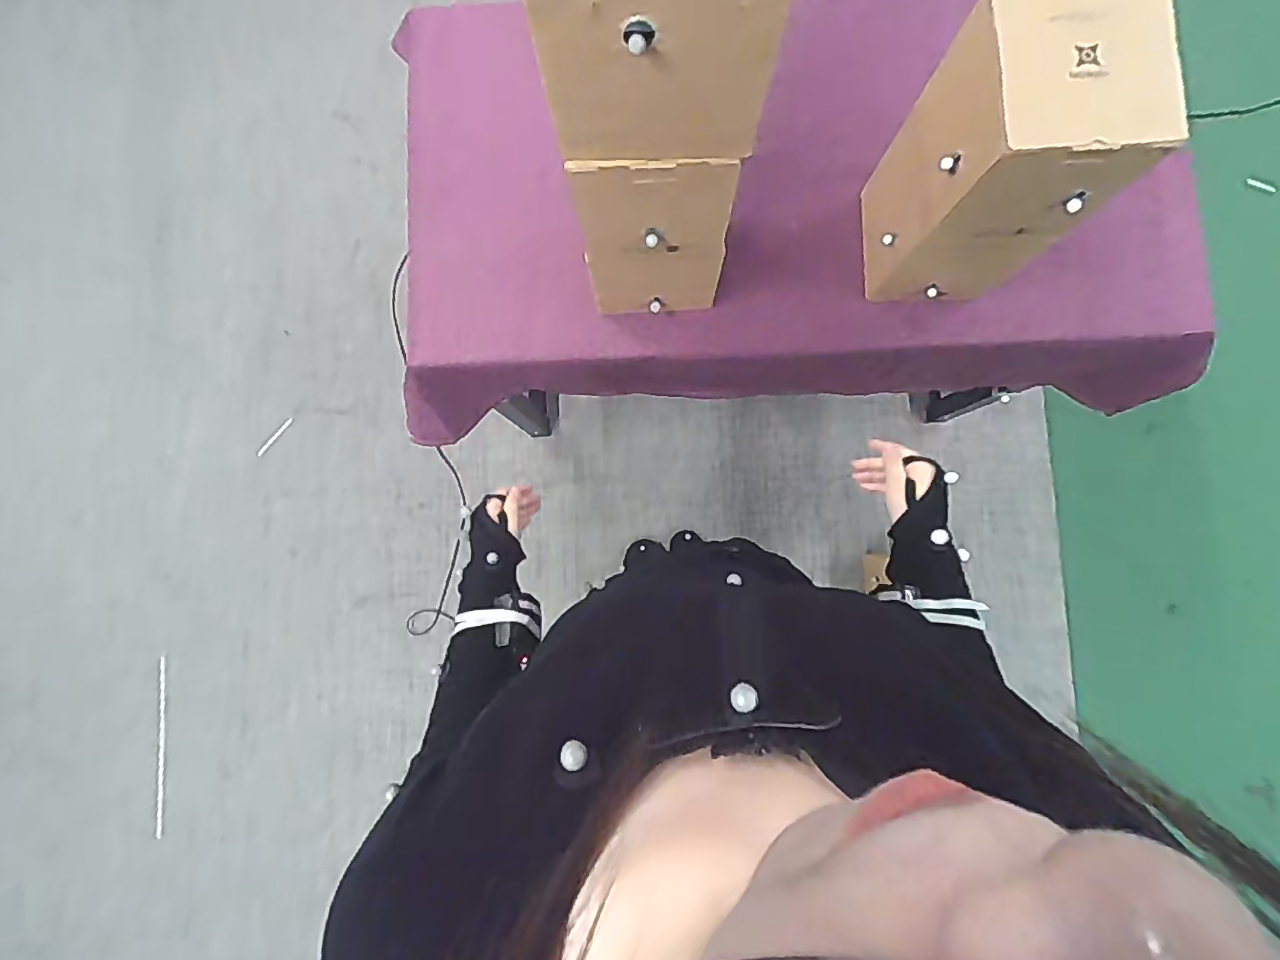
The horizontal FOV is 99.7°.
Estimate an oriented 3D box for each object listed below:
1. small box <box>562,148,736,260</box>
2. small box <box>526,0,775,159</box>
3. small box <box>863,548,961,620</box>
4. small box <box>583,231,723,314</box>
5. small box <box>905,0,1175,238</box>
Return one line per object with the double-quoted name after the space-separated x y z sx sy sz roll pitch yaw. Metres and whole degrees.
0.008 -0.368 0.593 0.168 0.176 0.179 -2 85 2 "small box"
0.009 -0.385 0.429 0.179 0.176 0.168 0 84 1 "small box"
0.699 0.267 1.414 0.179 0.176 0.168 -4 85 1 "small box"
0.012 -0.346 0.757 0.179 0.176 0.168 -4 84 0 "small box"
0.409 -0.381 0.585 0.168 0.176 0.179 -2 84 1 "small box"
